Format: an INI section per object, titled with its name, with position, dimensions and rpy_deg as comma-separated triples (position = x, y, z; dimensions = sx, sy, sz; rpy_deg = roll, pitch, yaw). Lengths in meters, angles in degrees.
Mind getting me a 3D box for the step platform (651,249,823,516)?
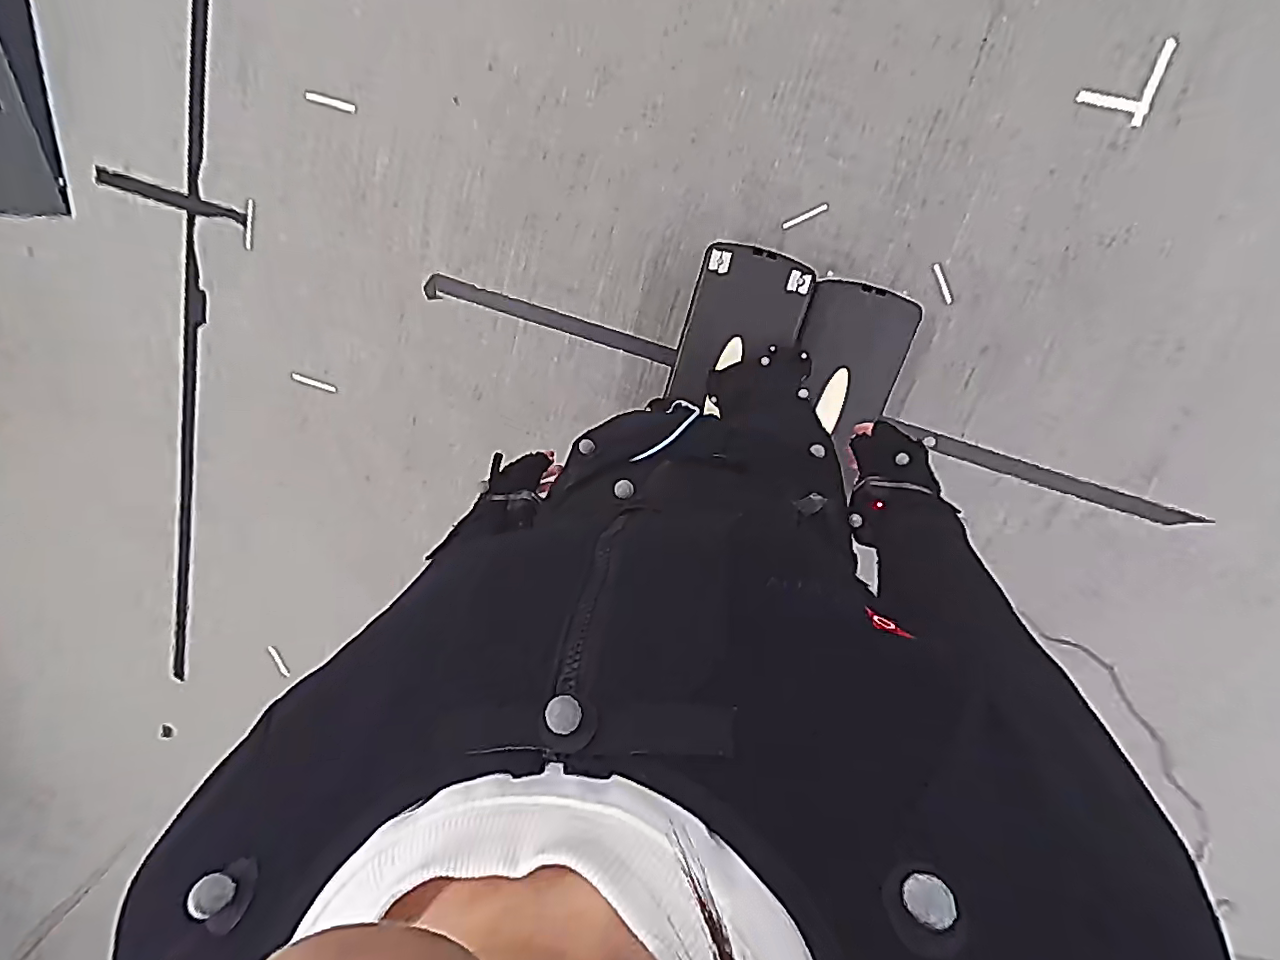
[step platform]
position = 0.247, -0.248, 1.458
dimensions = 0.286, 0.204, 0.684
rpy_deg = 16, 105, 4
